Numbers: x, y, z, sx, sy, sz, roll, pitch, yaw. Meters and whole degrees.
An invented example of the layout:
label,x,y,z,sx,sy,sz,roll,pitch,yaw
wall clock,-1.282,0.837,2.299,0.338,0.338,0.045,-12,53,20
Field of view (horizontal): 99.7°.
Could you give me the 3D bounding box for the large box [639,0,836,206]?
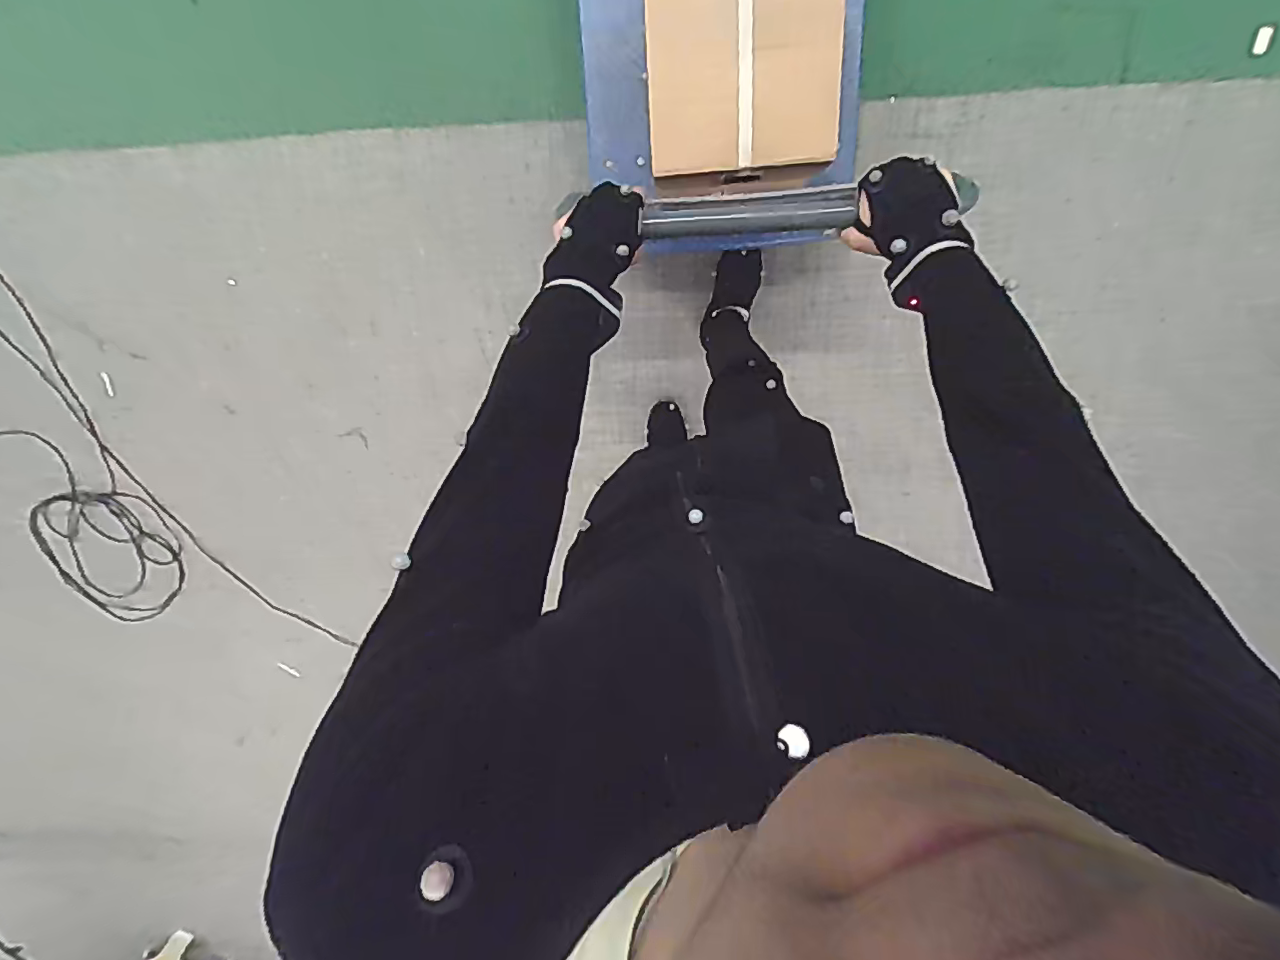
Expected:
label,x,y,z,sx,sy,sz,roll,pitch,yaw
large box,0.172,-0.770,1.013,0.320,0.320,0.408,-2,108,5
